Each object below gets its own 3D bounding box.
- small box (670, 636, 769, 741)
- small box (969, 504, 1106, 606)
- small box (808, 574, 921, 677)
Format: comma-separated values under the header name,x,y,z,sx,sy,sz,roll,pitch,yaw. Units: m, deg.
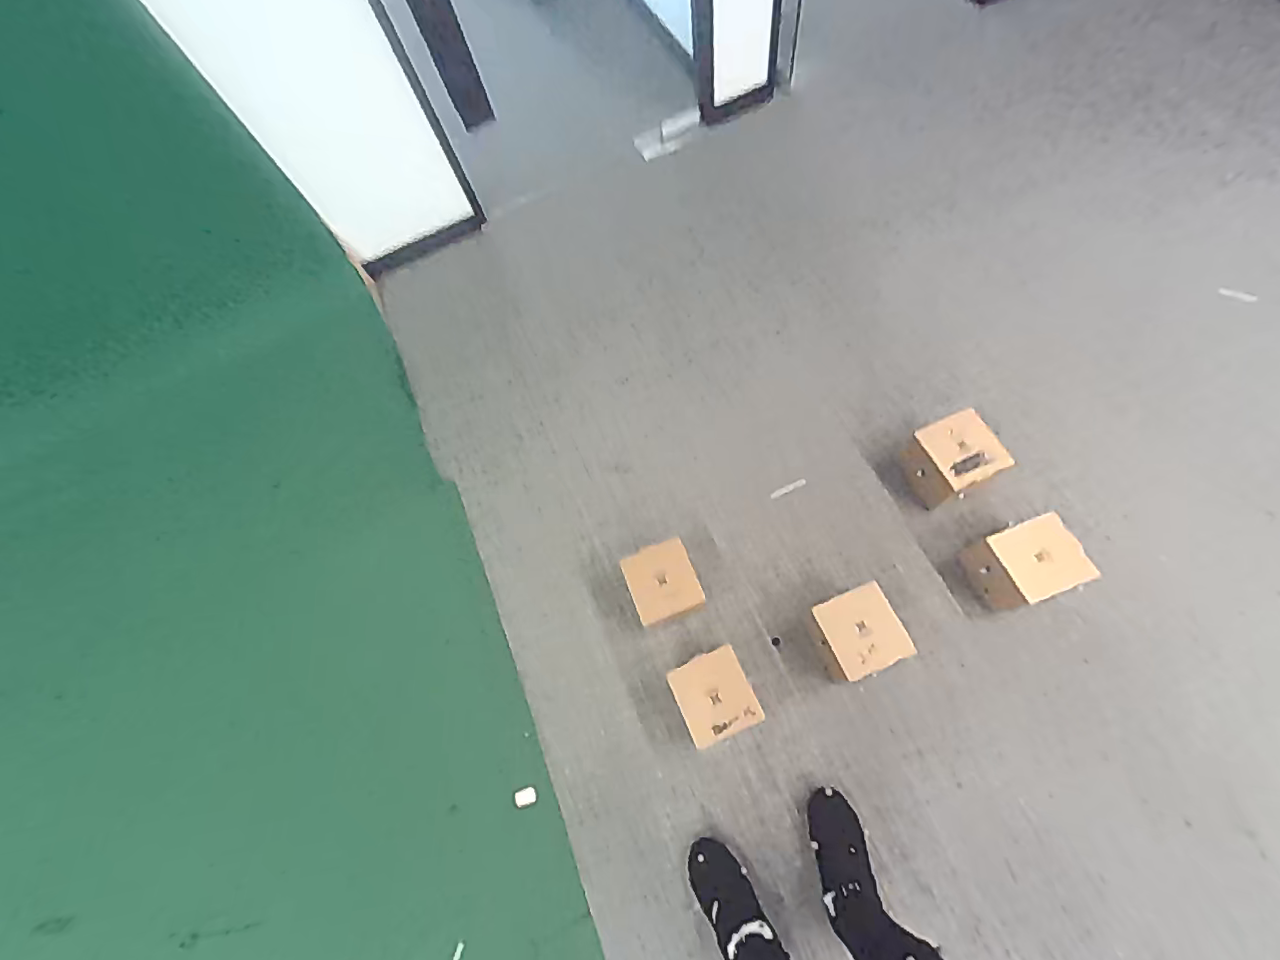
name,x,y,z,sx,sy,sz,roll,pitch,yaw
small box,0.183,0.489,1.263,0.168,0.176,0.179,-25,66,-1
small box,0.915,0.184,1.272,0.179,0.176,0.168,-22,67,-1
small box,0.513,0.347,1.268,0.168,0.176,0.179,-24,67,0
